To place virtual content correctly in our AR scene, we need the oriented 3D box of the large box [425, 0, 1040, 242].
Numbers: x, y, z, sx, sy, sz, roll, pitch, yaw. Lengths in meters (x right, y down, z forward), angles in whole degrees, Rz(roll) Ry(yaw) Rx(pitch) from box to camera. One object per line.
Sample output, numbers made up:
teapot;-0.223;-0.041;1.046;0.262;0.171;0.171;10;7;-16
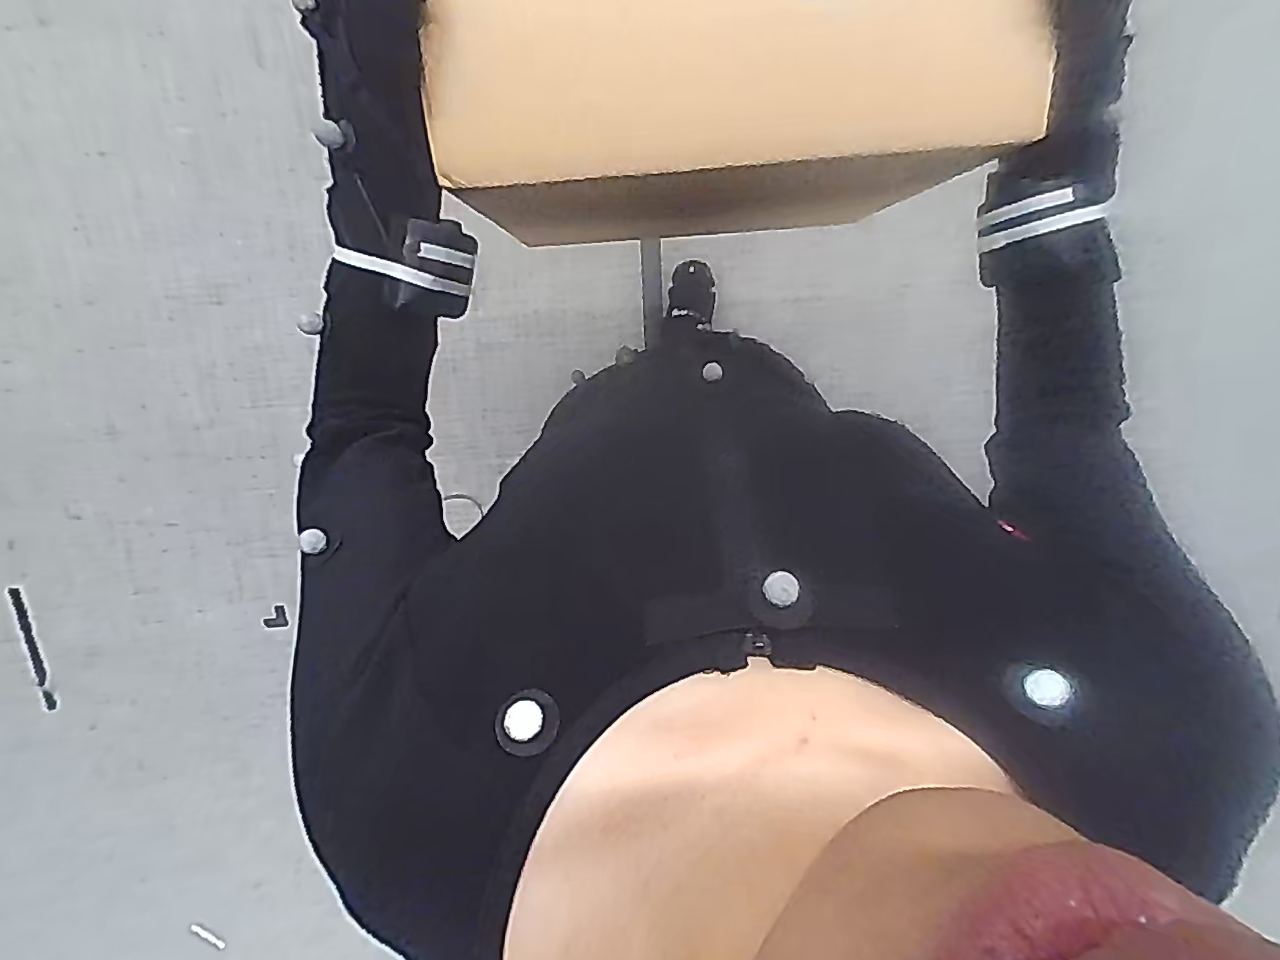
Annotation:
large box;0.050;-0.413;0.472;0.408;0.320;0.320;-5;106;0
